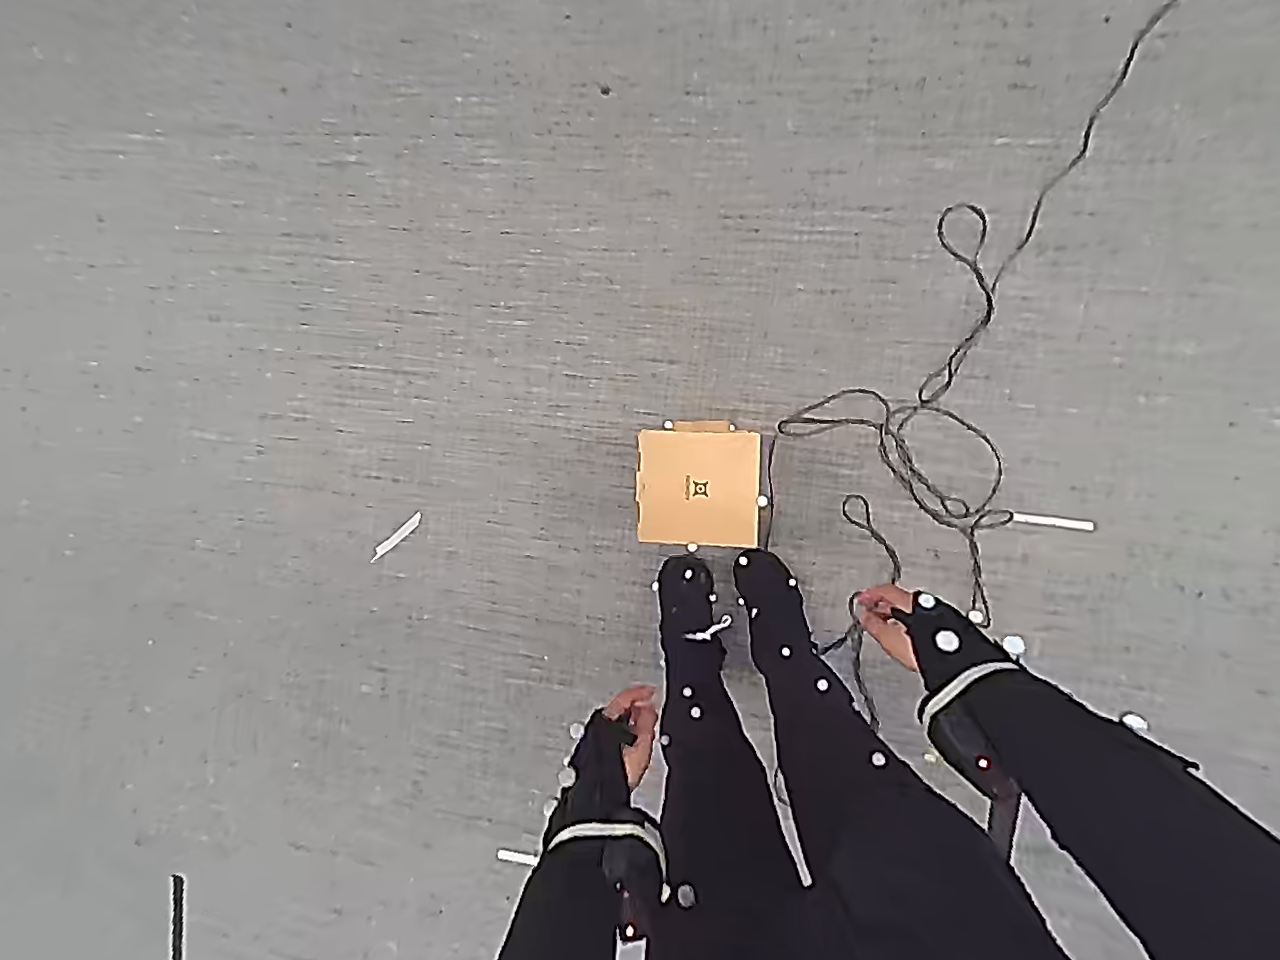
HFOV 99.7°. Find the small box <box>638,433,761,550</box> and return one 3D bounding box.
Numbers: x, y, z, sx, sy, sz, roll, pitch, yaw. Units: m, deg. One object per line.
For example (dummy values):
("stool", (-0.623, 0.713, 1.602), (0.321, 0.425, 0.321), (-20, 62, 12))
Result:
("small box", (0.097, 0.010, 0.854), (0.179, 0.176, 0.168), (1, 94, 11))
